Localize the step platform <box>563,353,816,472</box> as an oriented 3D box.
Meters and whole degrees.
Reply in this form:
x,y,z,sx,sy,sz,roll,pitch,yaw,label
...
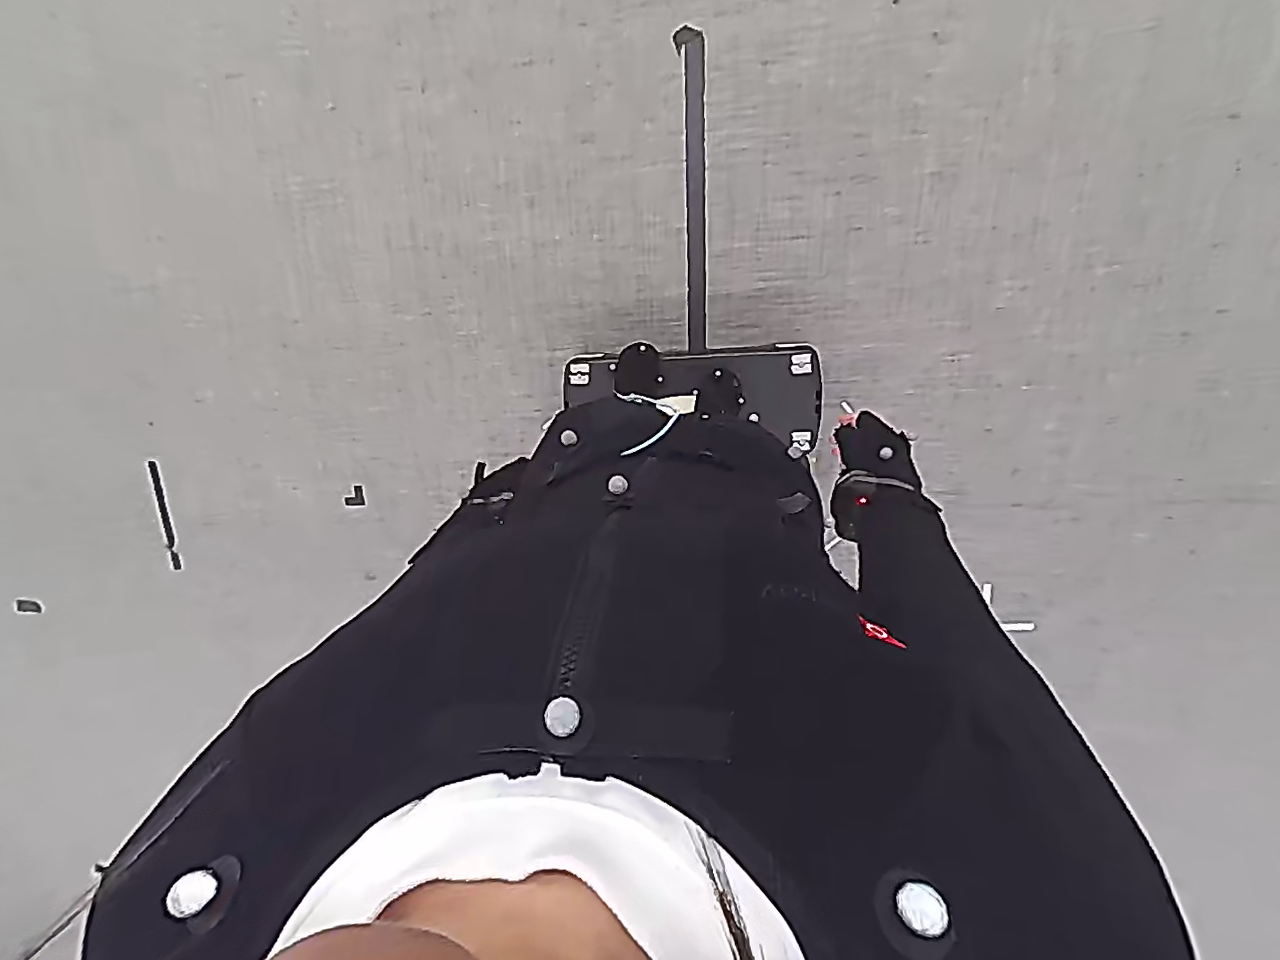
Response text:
x,y,z,sx,sy,sz,roll,pitch,yaw,label
0.130,-0.186,1.497,0.684,0.204,0.286,-3,105,6,step platform
